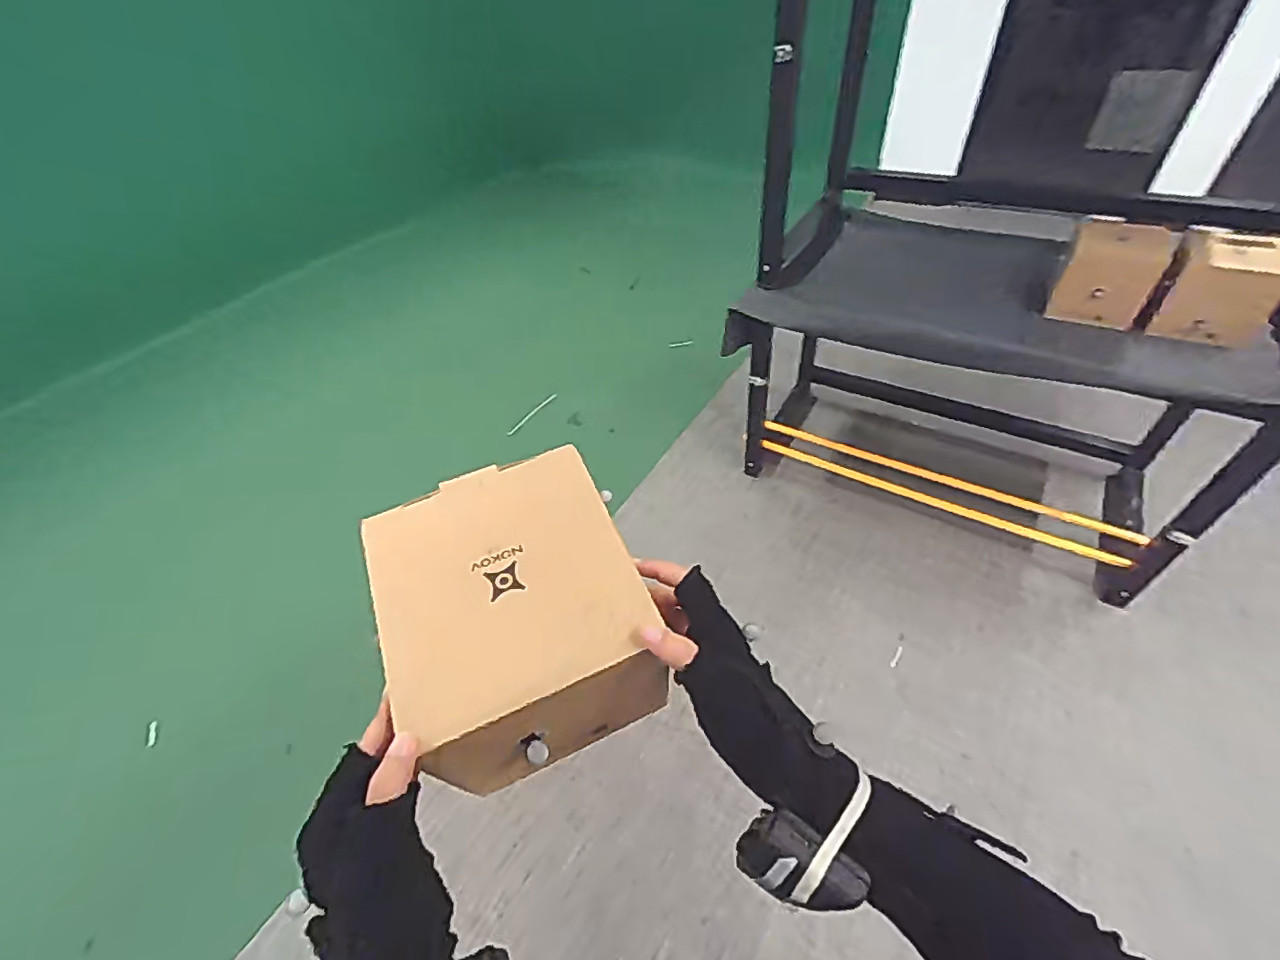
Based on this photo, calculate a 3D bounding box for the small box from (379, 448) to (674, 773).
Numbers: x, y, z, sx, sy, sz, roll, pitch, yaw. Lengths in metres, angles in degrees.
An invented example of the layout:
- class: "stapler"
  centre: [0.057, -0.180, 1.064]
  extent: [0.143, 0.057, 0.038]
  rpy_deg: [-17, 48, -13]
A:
- class: "small box"
  centre: [-0.081, 0.111, 0.433]
  extent: [0.168, 0.176, 0.179]
  rpy_deg: [-21, 56, -13]
